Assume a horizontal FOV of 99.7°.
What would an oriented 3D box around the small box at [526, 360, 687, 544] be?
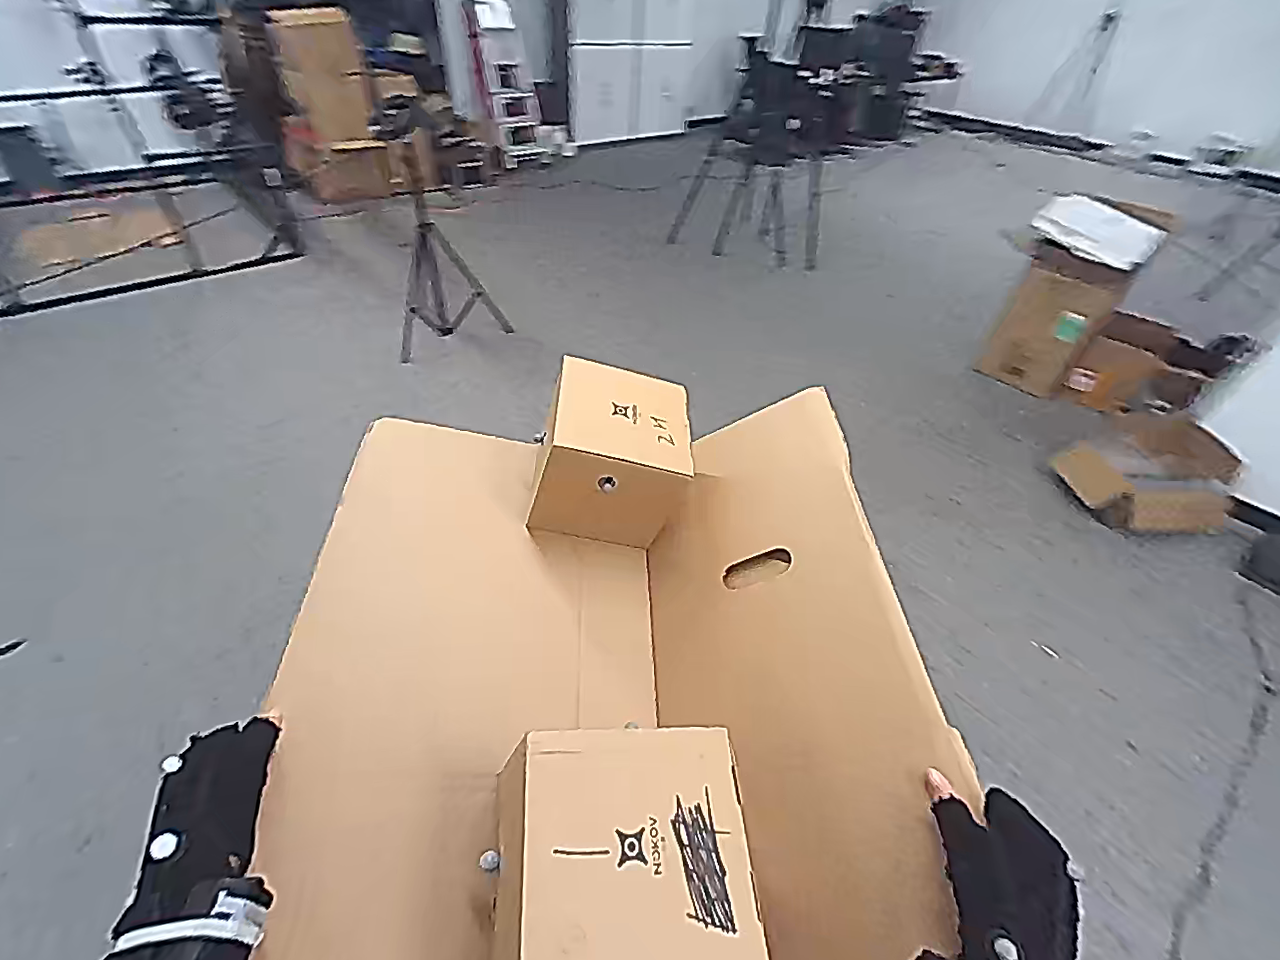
[{"bbox_3d":[-0.051,-0.031,0.738,0.179,0.176,0.168,13,48,-15],"label":"small box"}]
